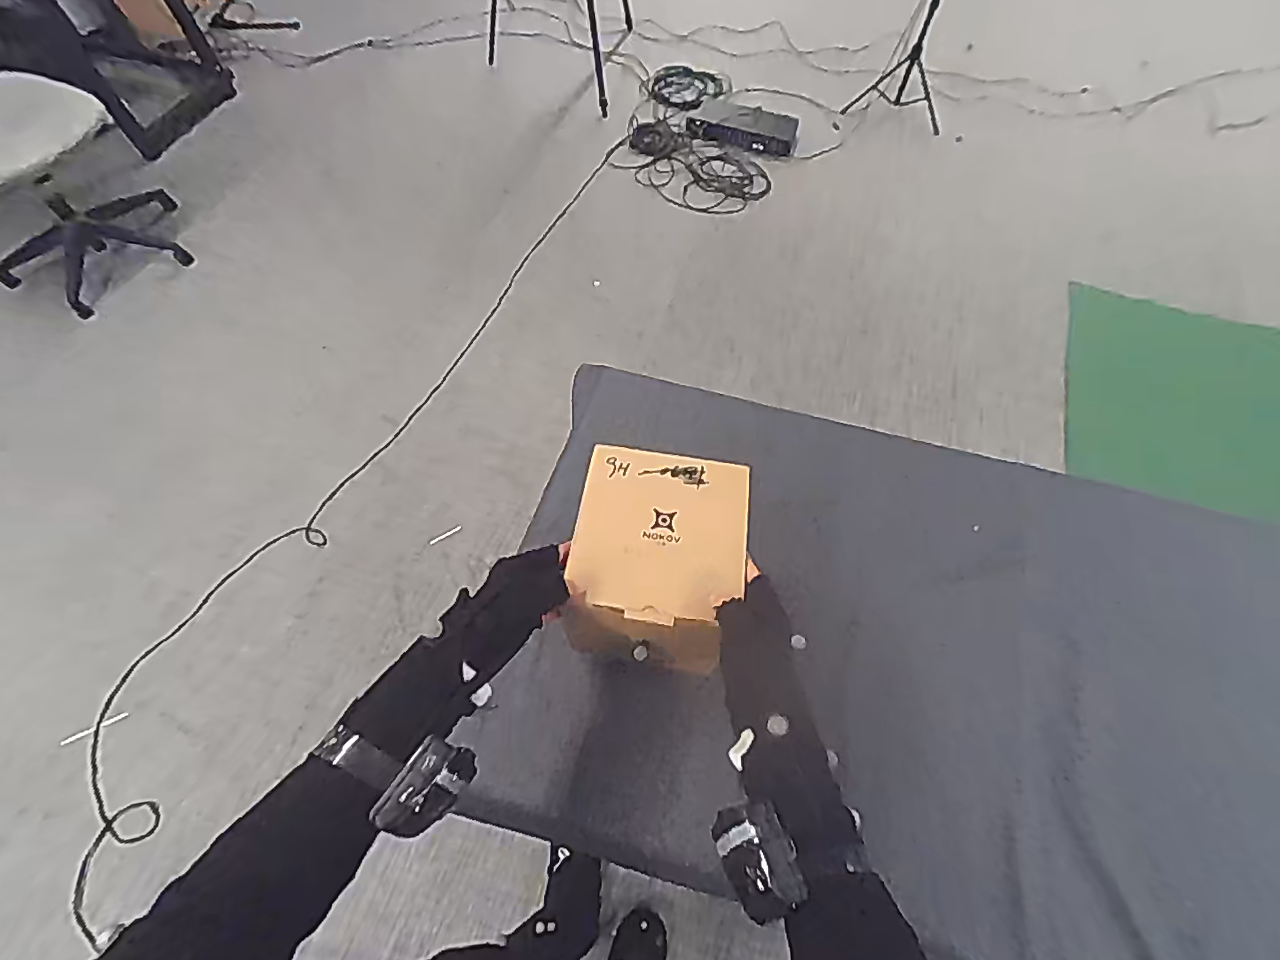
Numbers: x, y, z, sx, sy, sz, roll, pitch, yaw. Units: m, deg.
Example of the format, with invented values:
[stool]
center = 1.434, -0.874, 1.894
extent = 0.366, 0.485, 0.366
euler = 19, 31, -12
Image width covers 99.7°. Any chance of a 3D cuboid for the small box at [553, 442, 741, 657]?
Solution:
[small box]
center = 0.011, 0.085, 0.598
extent = 0.168, 0.176, 0.179
euler = 8, 59, 3
